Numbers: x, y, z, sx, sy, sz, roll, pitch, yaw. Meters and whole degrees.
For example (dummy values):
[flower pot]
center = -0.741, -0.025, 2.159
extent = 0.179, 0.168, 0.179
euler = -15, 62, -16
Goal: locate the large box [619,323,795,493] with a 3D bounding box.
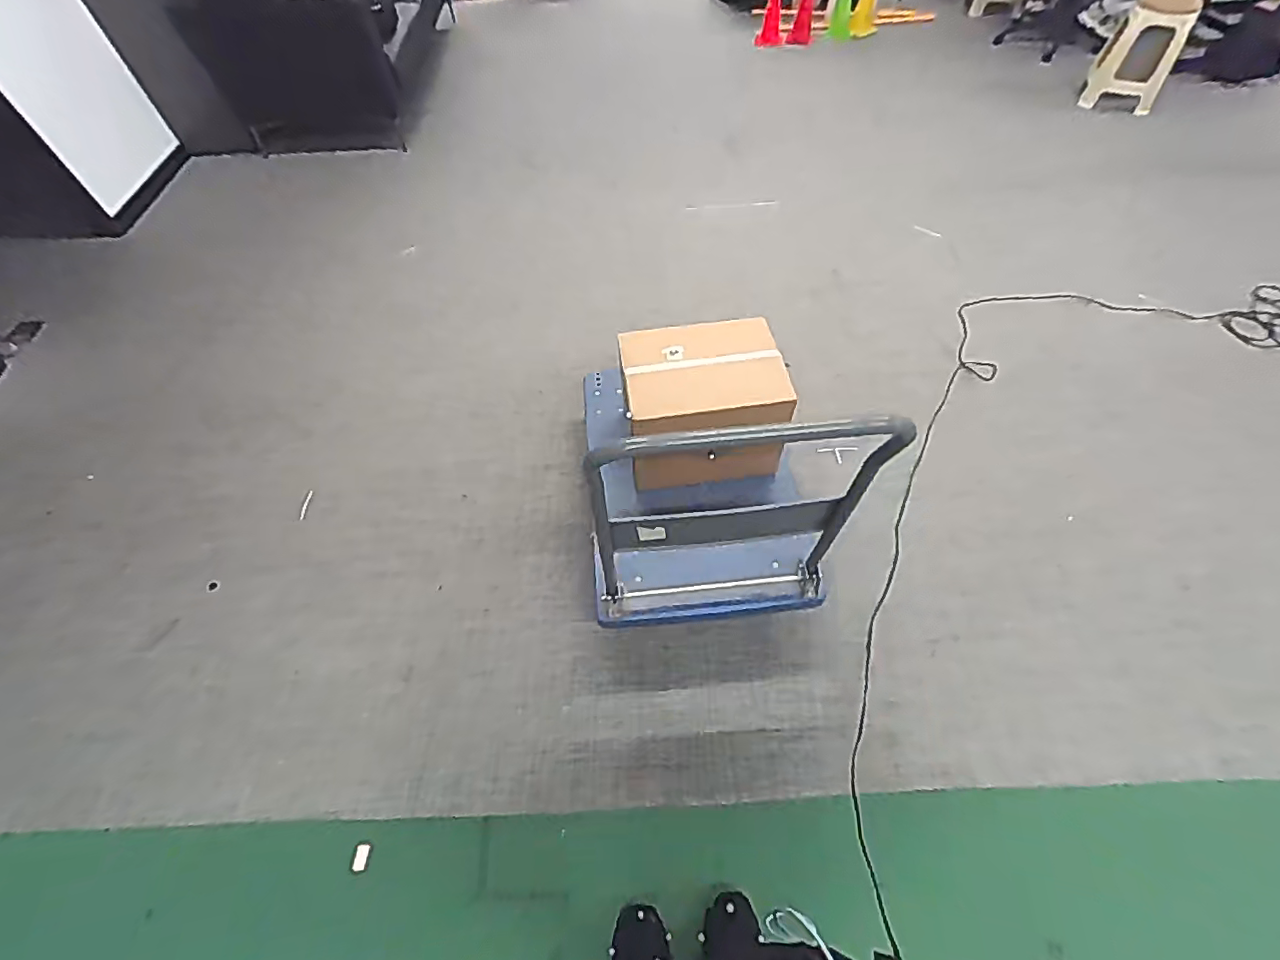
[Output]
[large box]
center = 0.169, -0.194, 1.506
extent = 0.408, 0.320, 0.320
euler = -8, 54, -3
